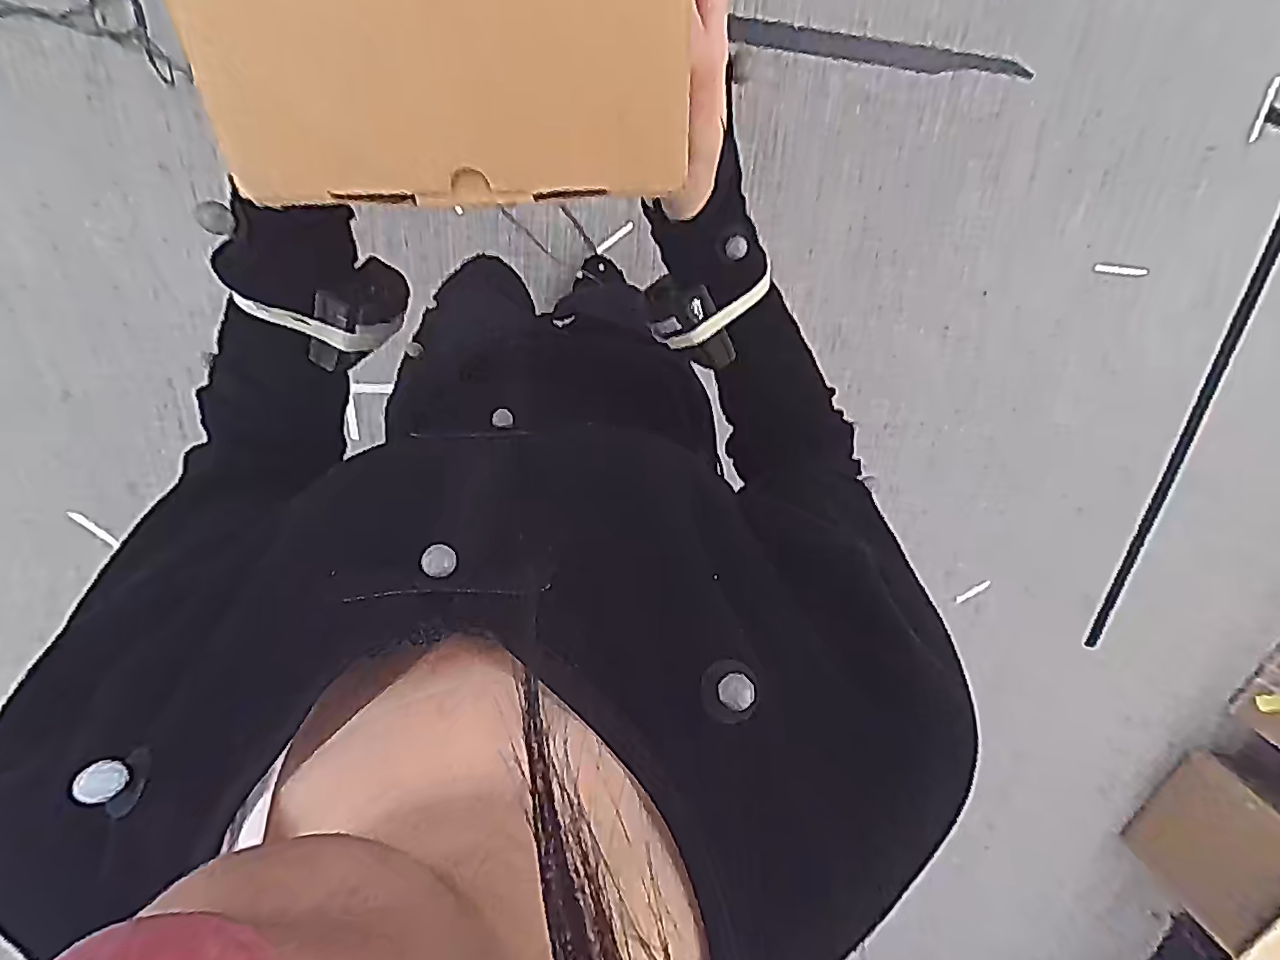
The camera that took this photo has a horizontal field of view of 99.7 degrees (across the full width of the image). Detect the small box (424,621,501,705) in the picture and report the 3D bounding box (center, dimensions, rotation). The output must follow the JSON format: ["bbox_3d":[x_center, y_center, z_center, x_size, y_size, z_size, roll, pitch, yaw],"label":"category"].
[{"bbox_3d":[-0.520,0.538,1.607,0.179,0.176,0.168,-4,113,-5],"label":"small box"}]

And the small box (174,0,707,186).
[{"bbox_3d":[-0.068,-0.226,0.216,0.168,0.176,0.179,-4,125,-5],"label":"small box"}]

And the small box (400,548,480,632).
[{"bbox_3d":[-0.550,0.298,1.507,0.168,0.176,0.179,-3,112,-5],"label":"small box"}]

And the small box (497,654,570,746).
[{"bbox_3d":[-0.284,0.592,1.470,0.179,0.176,0.168,0,112,-6],"label":"small box"}]
